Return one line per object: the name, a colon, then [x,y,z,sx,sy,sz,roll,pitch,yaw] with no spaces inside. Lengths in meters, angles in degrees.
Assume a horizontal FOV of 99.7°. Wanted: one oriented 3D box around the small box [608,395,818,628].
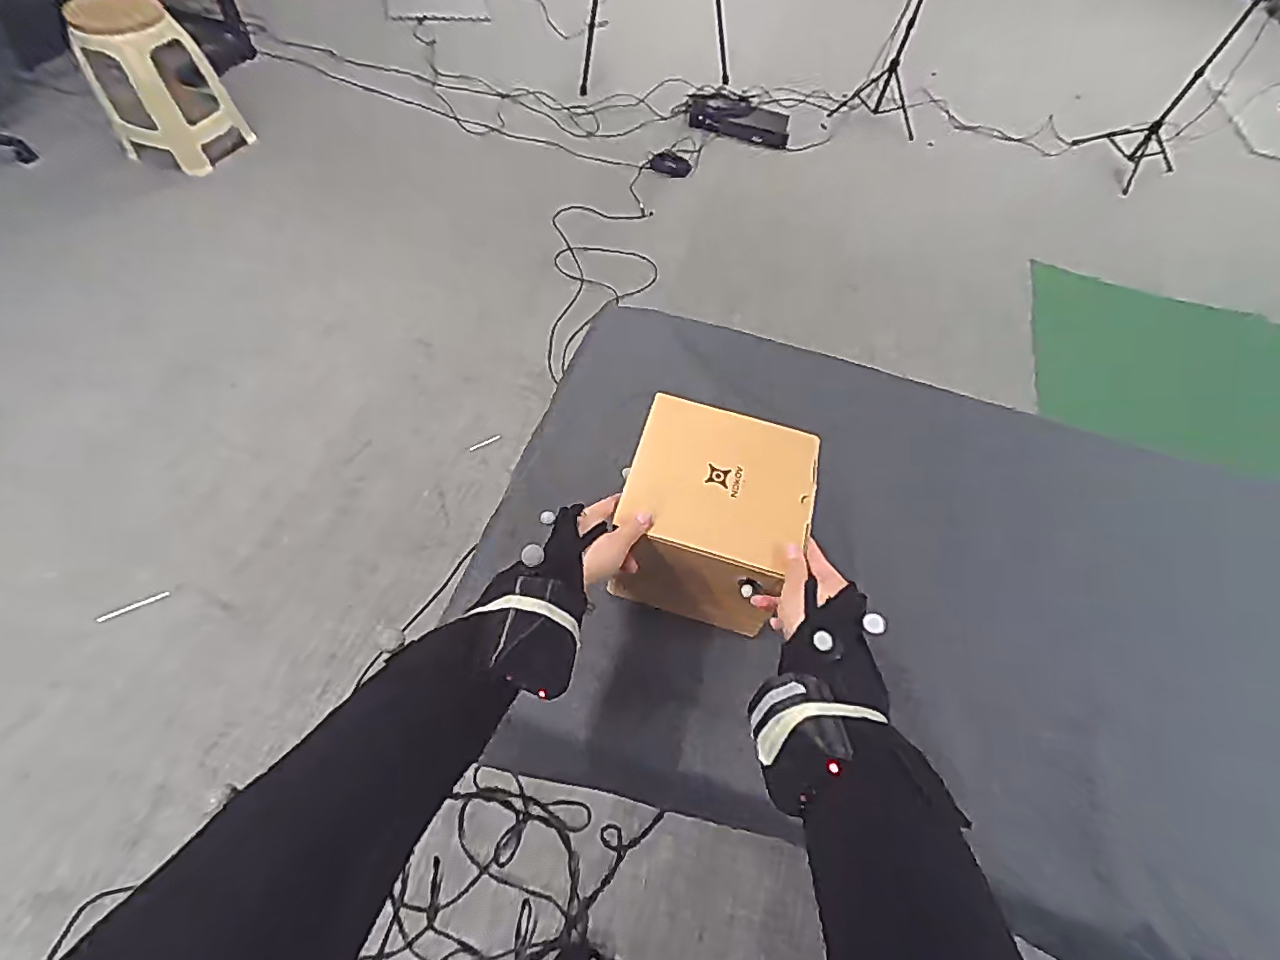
small box: [0.070,0.041,0.581,0.179,0.176,0.168,16,57,4]
